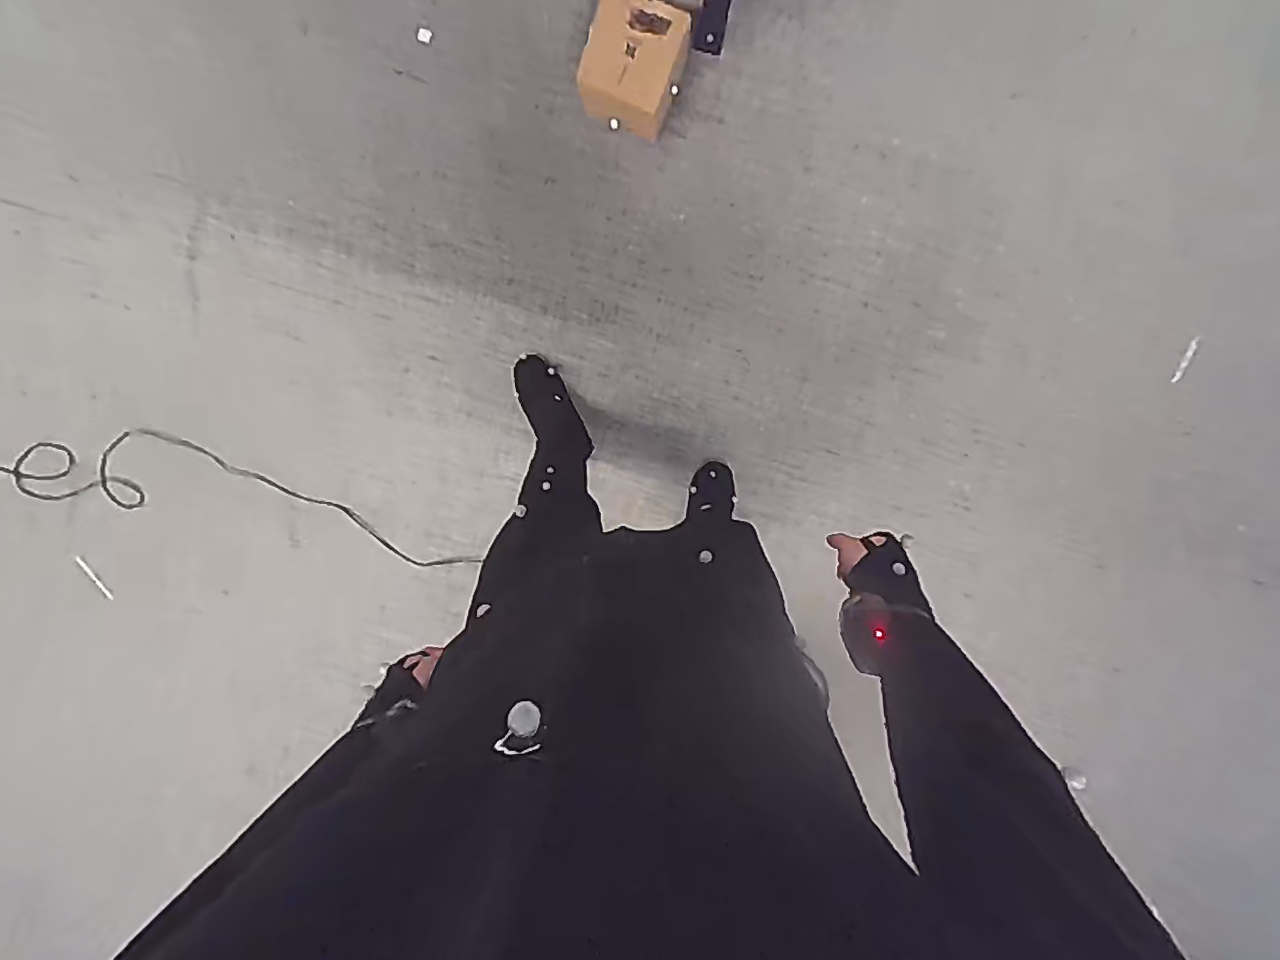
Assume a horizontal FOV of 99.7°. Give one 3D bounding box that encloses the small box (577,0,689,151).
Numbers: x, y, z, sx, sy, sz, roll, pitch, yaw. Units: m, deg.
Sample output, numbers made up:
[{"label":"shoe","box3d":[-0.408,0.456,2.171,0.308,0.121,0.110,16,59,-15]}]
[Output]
[{"label":"small box","box3d":[-0.014,-0.811,1.095,0.168,0.176,0.179,21,103,-3]}]
